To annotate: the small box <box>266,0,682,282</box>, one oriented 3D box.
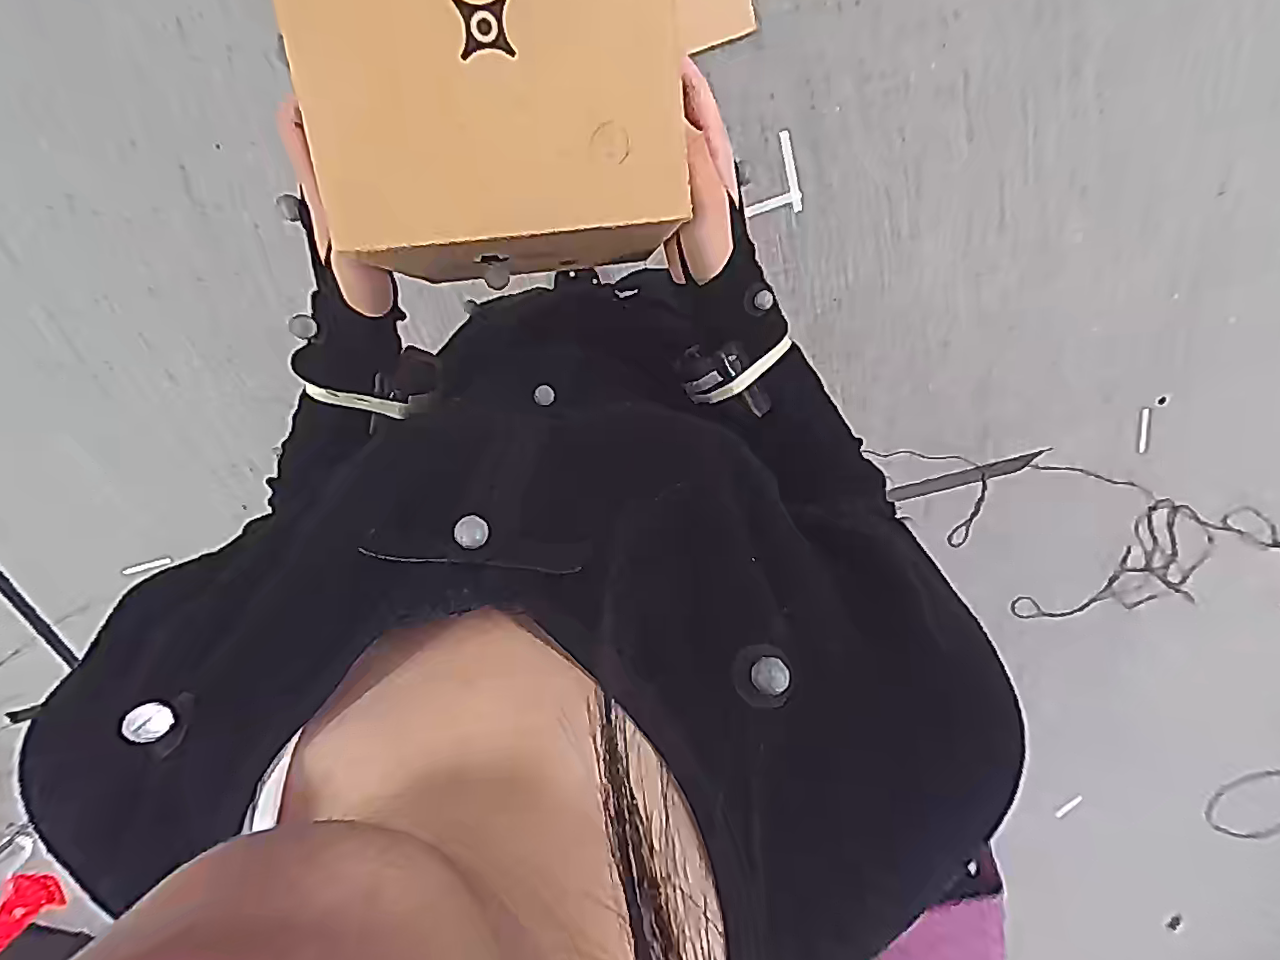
[{"bbox_3d":[-0.075,-0.212,0.302,0.168,0.176,0.179,-8,105,-4],"label":"small box"}]
